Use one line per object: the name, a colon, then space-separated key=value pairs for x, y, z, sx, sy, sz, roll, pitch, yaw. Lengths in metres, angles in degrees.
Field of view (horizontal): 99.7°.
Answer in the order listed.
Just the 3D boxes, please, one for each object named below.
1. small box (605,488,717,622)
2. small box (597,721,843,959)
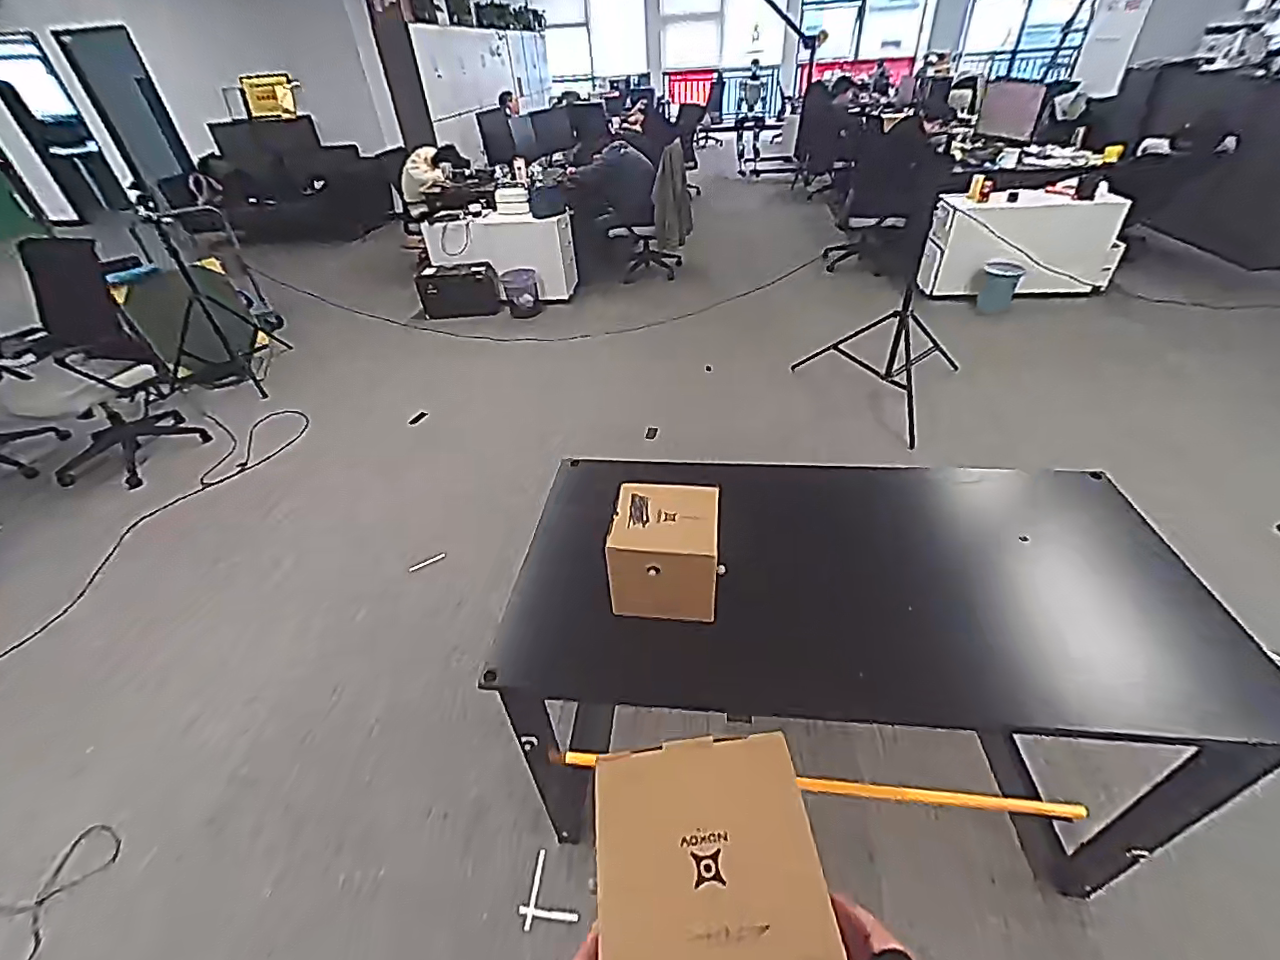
small box: x=0.044 y=0.131 z=0.953 sx=0.179 sy=0.176 sz=0.168 roll=3 pitch=39 yaw=7
small box: x=0.055 y=0.337 z=0.462 sx=0.168 sy=0.176 sz=0.179 roll=-8 pitch=41 yaw=0
